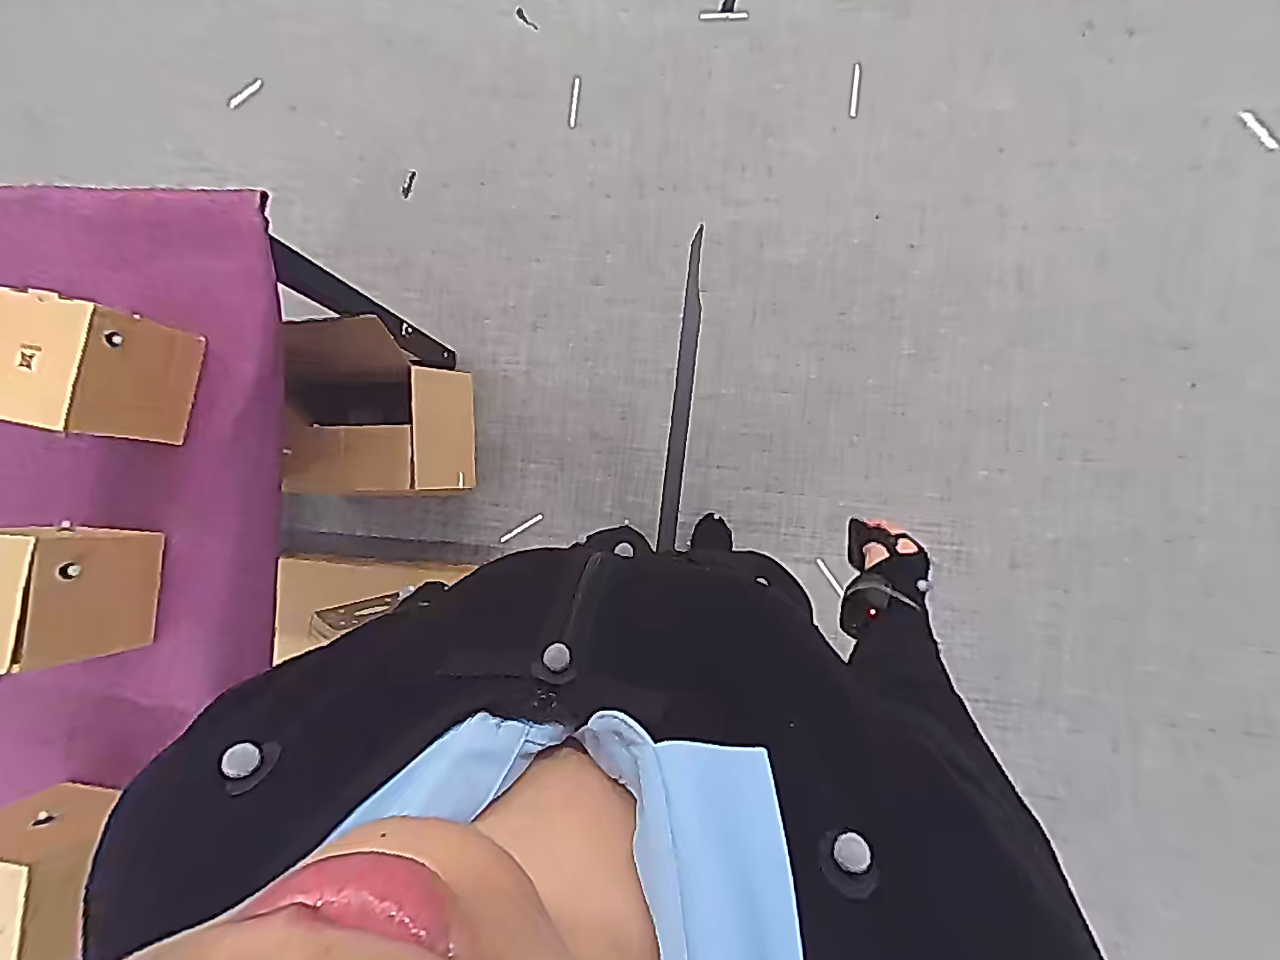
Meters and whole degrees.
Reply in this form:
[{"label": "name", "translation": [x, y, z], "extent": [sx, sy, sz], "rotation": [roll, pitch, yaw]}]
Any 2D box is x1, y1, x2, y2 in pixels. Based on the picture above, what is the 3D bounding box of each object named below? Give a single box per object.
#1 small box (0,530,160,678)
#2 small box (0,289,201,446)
[{"label": "small box", "translation": [-0.837, 0.162, 0.768], "extent": [0.168, 0.176, 0.179], "rotation": [3, 87, 9]}, {"label": "small box", "translation": [-0.793, -0.153, 0.786], "extent": [0.168, 0.176, 0.179], "rotation": [10, 87, 7]}]
